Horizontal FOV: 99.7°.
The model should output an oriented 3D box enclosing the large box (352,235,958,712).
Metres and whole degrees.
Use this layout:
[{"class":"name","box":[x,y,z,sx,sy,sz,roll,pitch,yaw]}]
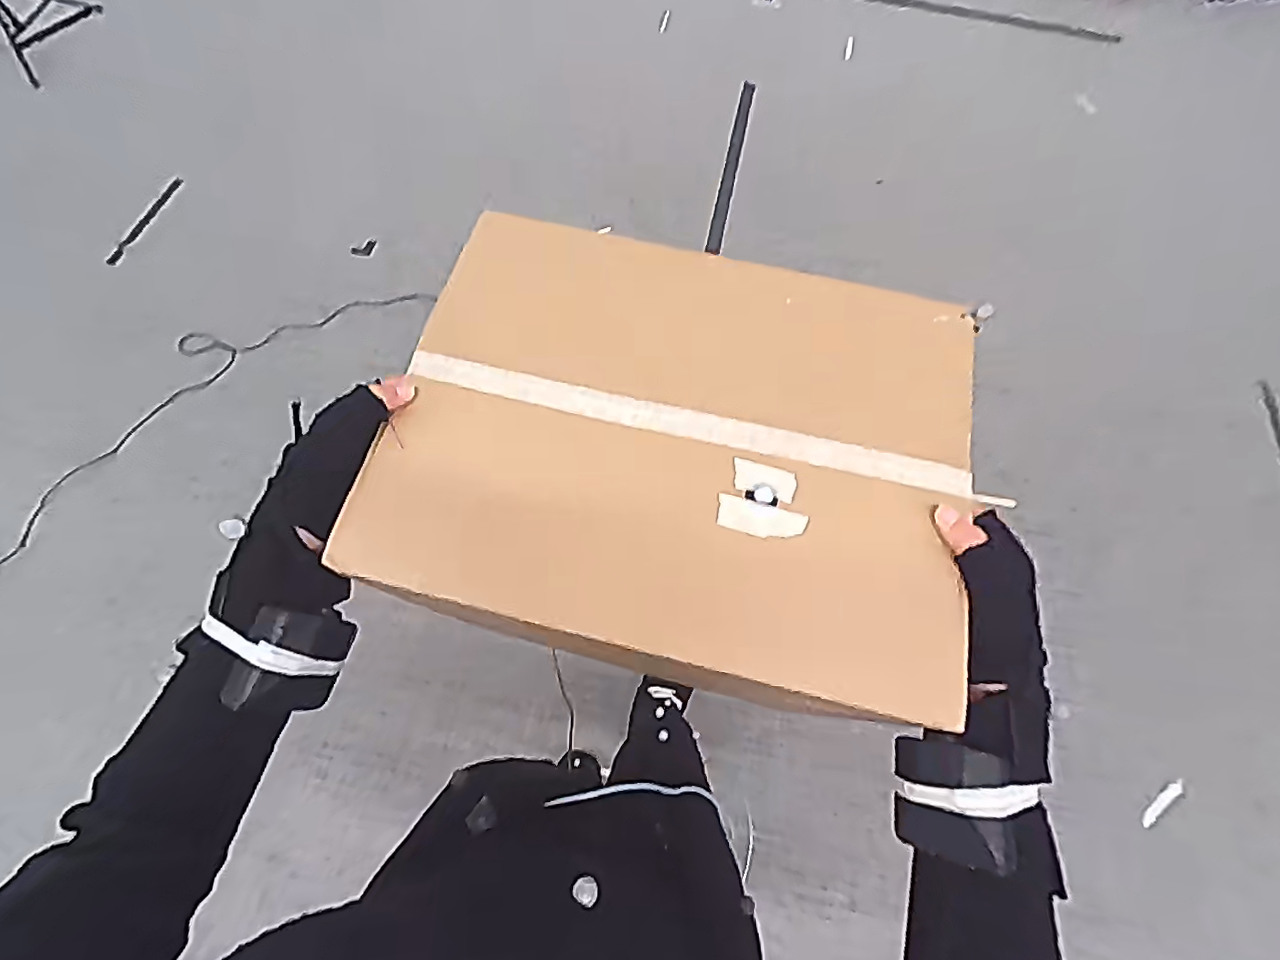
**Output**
[{"class":"large box","box":[0.027,0.020,0.539,0.408,0.320,0.320,13,70,4]}]
